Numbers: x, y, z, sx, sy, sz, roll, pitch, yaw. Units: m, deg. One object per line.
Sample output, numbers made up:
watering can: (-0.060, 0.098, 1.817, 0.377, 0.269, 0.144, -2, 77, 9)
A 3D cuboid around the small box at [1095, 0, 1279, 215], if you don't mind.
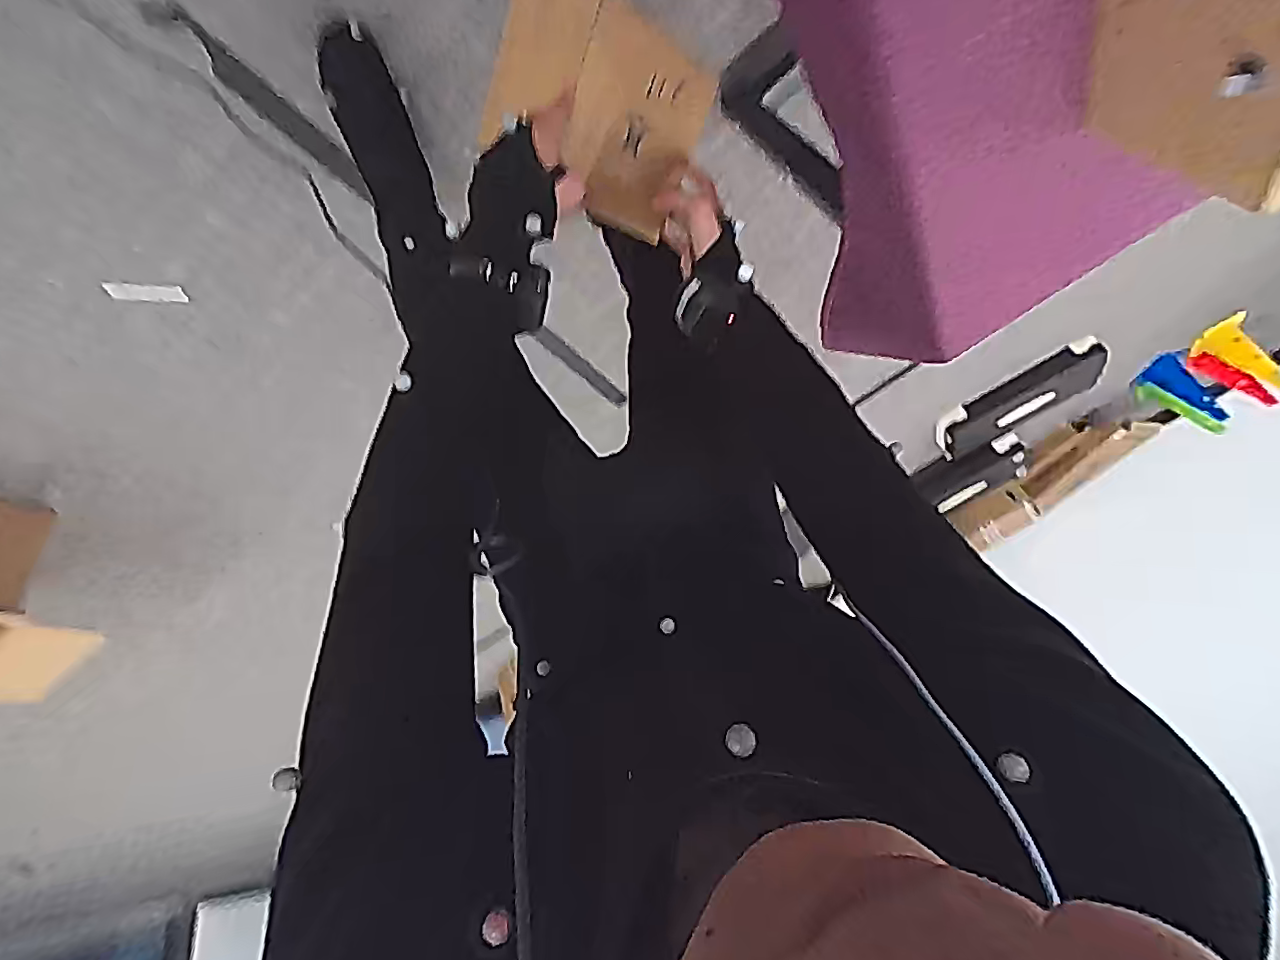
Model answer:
small box: (0.439, -0.322, 0.343, 0.168, 0.176, 0.179, -34, 145, 18)
